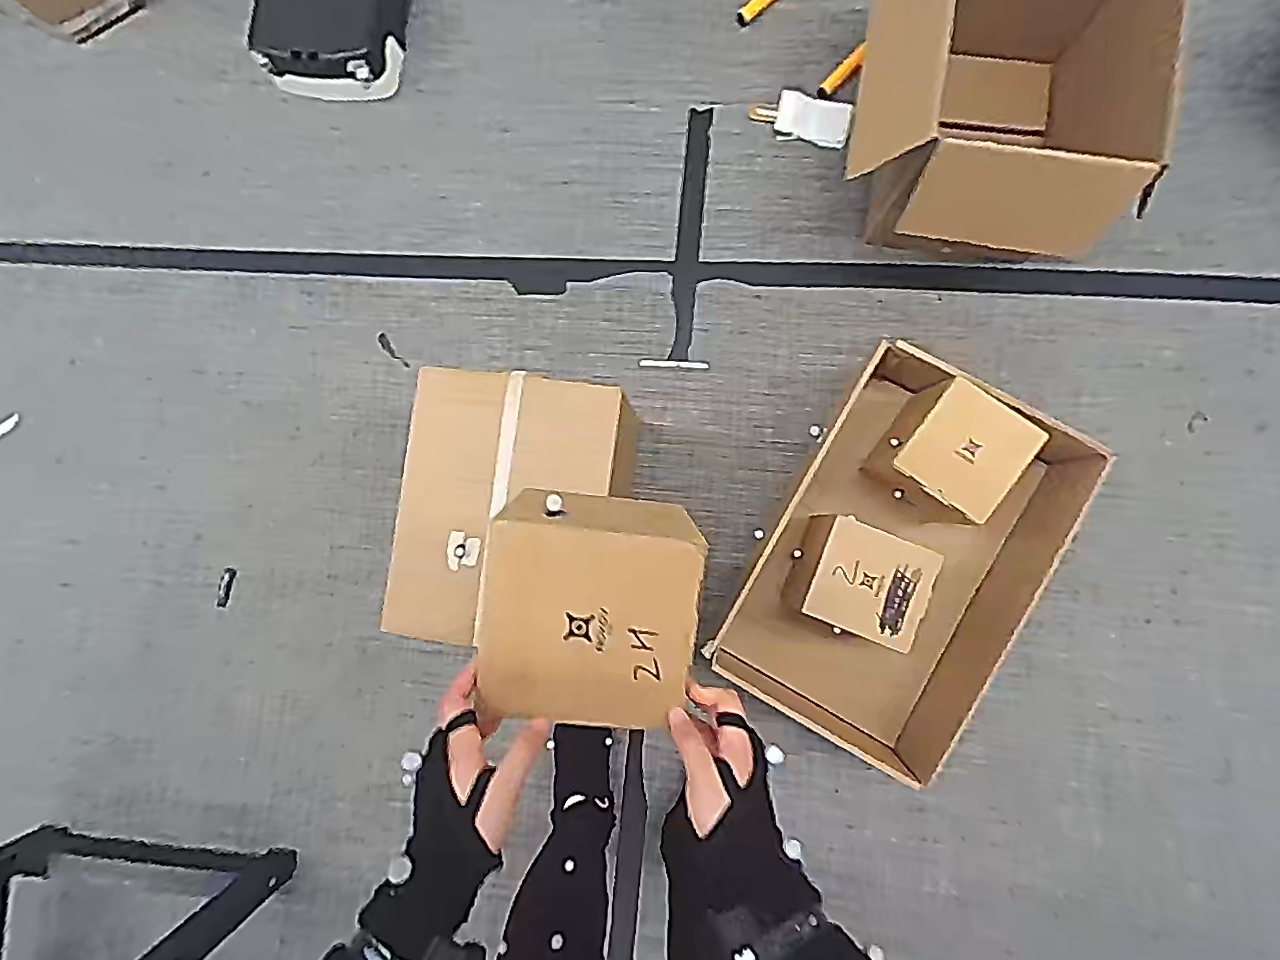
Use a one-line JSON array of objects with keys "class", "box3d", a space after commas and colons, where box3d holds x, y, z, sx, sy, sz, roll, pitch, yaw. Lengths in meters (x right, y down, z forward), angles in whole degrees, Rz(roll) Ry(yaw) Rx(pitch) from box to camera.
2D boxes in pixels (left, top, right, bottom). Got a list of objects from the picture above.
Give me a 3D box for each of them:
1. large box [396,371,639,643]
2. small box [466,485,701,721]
[{"class": "large box", "box3d": [-0.181, 0.050, 0.942, 0.320, 0.320, 0.408, 7, 88, 6]}, {"class": "small box", "box3d": [-0.051, 0.101, 0.516, 0.179, 0.176, 0.168, 6, 97, -4]}]
